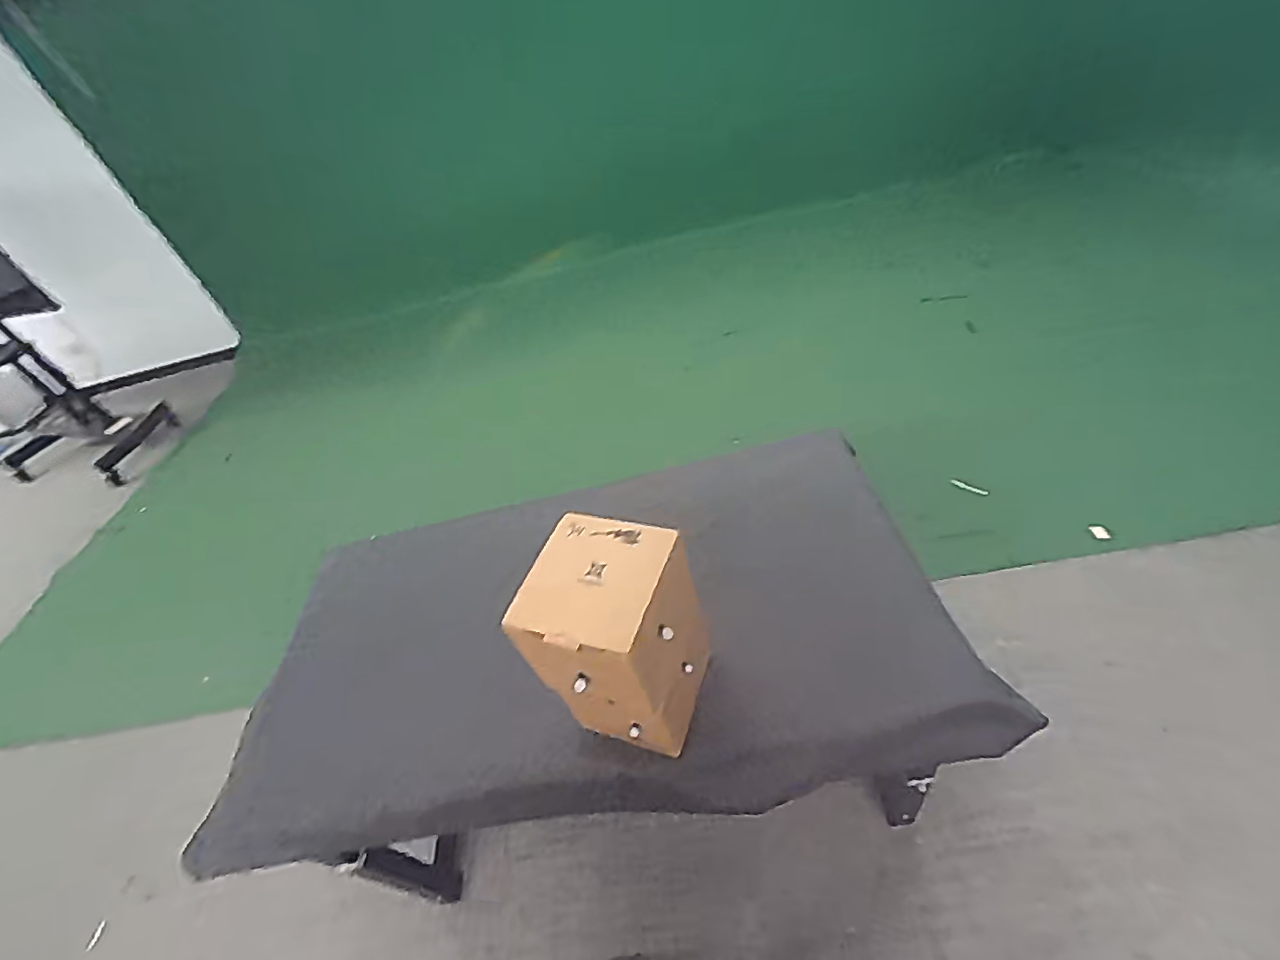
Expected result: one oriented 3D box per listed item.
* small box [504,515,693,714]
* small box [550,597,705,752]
[{"bbox_3d":[-0.038,0.172,0.696,0.168,0.176,0.179,7,49,23],"label":"small box"},{"bbox_3d":[-0.005,0.279,0.817,0.168,0.176,0.179,7,47,22],"label":"small box"}]
